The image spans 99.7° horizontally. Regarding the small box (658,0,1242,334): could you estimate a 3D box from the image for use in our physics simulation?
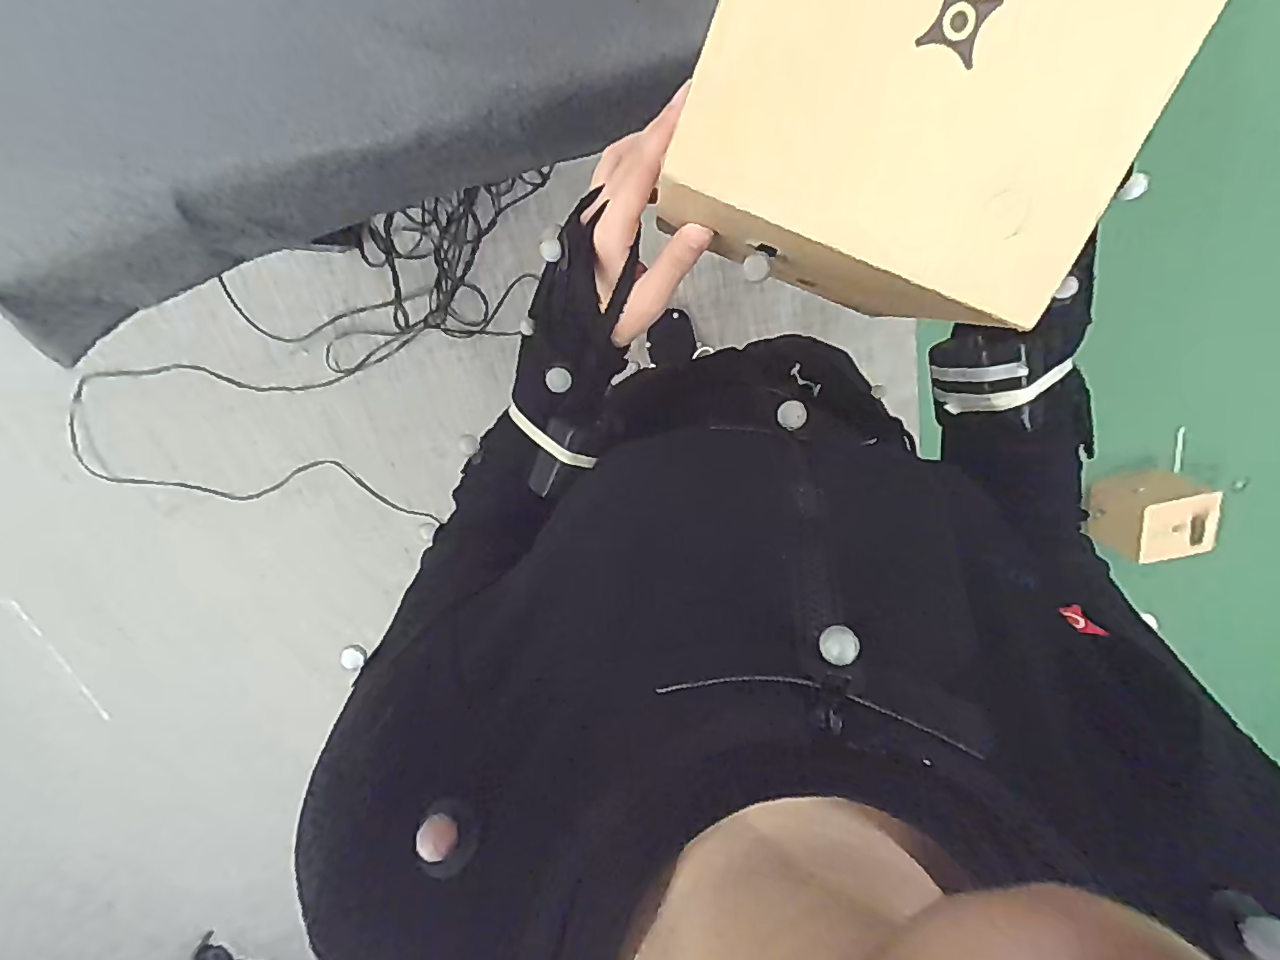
[{"bbox_3d":[0.116,-0.186,0.261,0.168,0.176,0.179,20,106,-5],"label":"small box"}]
